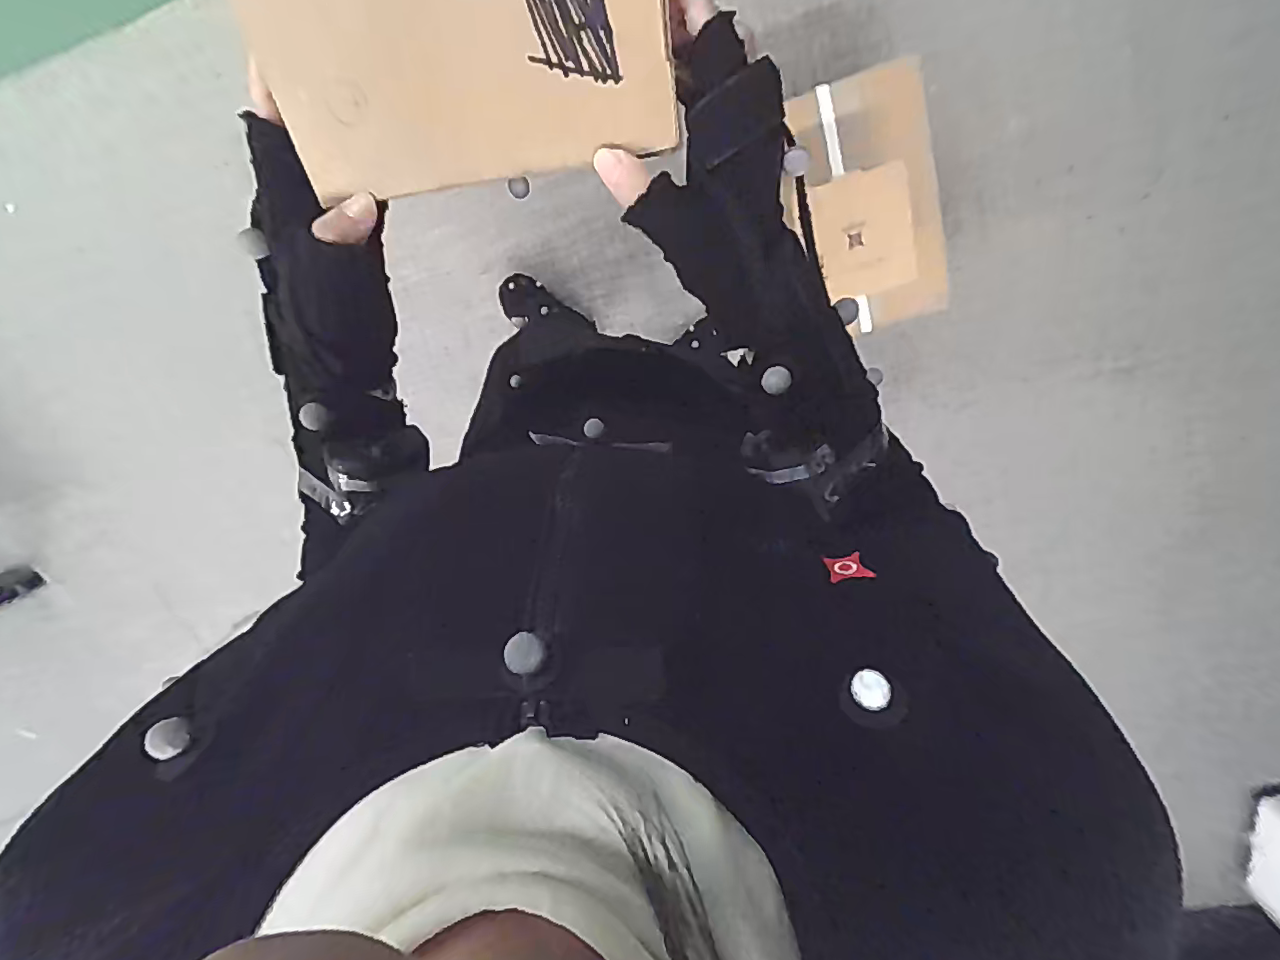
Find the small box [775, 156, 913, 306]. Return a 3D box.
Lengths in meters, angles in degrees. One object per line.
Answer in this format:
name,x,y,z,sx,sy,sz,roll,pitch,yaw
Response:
small box,0.325,-0.397,0.884,0.168,0.176,0.179,-13,111,11
